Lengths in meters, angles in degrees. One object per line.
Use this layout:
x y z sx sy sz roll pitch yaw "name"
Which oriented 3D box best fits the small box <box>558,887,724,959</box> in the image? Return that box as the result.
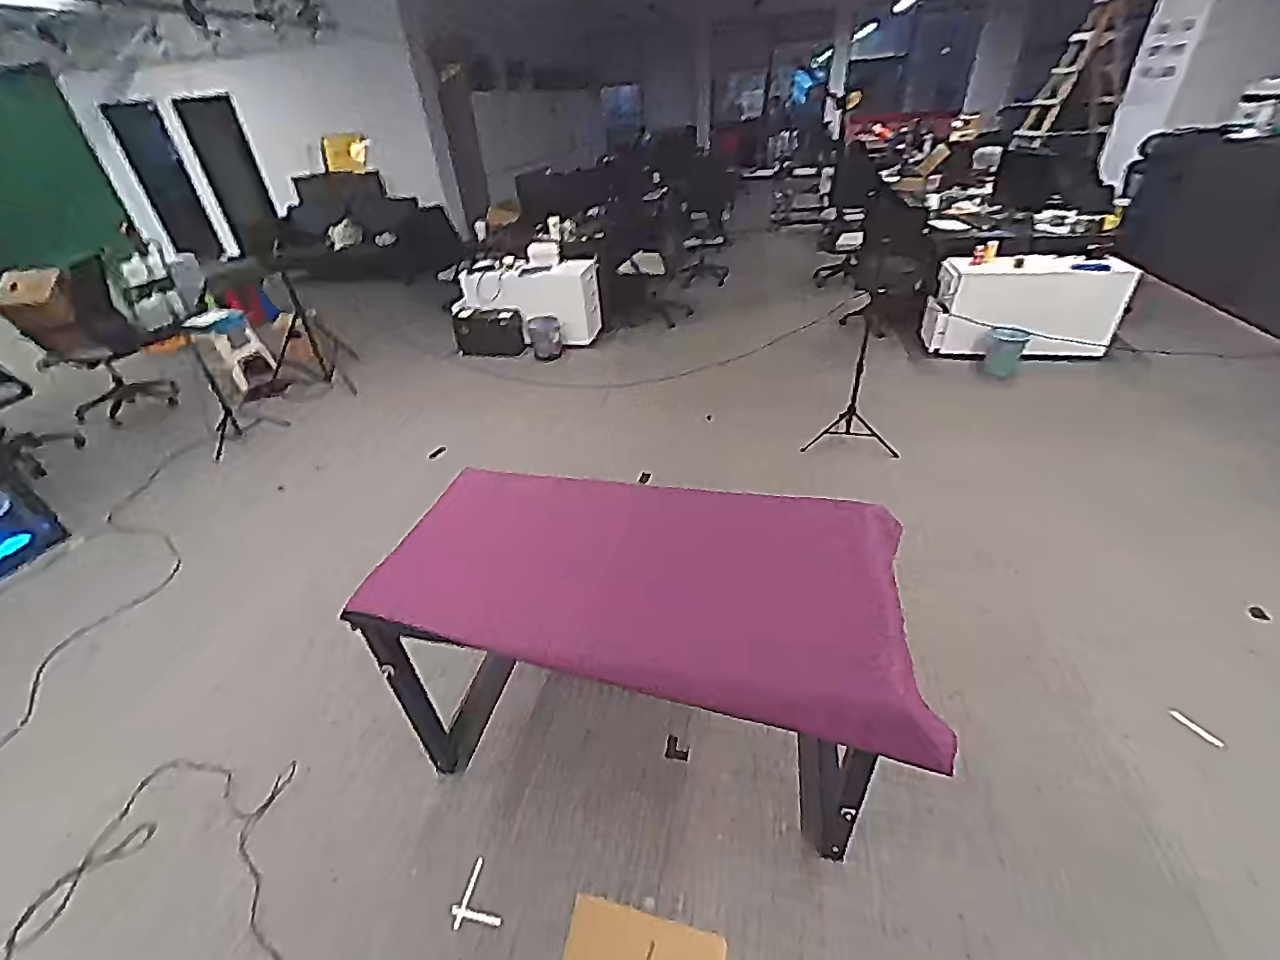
-0.016 0.581 0.599 0.168 0.176 0.179 15 52 3 "small box"
